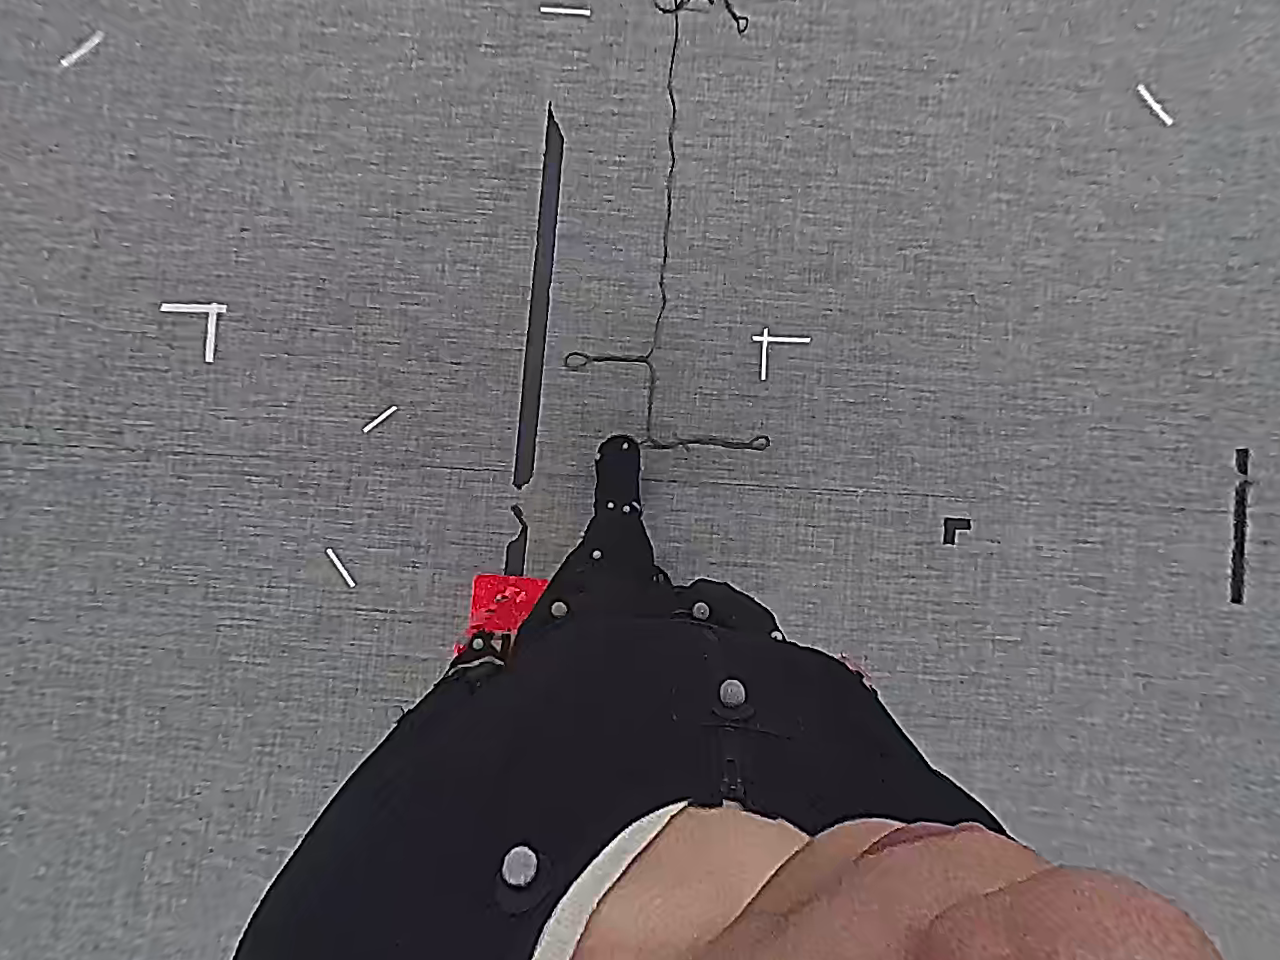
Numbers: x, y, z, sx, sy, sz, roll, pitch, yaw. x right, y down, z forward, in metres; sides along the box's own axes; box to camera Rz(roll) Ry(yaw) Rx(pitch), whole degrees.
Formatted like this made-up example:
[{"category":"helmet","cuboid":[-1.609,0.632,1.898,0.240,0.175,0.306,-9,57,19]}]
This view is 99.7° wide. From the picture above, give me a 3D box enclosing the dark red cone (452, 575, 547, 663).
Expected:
[{"category":"dark red cone","cuboid":[-0.331,0.330,1.176,0.201,0.394,0.202,4,86,-1]}]
